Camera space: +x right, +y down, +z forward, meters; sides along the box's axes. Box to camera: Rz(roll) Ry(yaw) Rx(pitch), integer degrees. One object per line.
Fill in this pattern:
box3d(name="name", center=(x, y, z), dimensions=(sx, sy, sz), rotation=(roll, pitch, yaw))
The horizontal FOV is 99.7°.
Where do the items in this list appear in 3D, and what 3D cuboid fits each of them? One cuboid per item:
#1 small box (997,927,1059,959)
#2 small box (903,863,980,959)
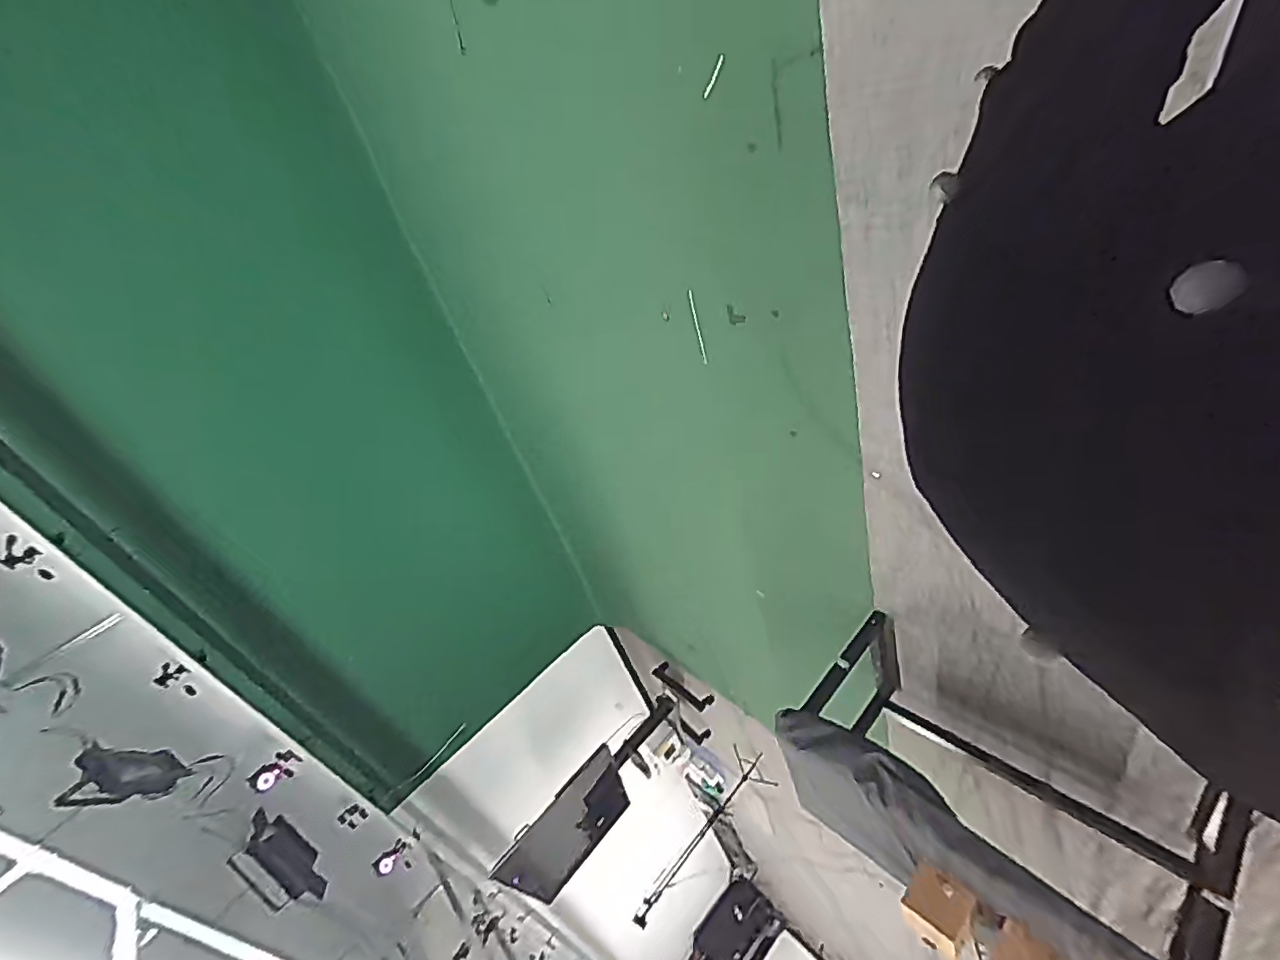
box3d(name="small box", center=(1.123, 1.440, 1.546), dimensions=(0.168, 0.176, 0.179), rotation=(18, 140, 47))
box3d(name="small box", center=(0.966, 1.387, 1.728), dimensions=(0.168, 0.176, 0.179), rotation=(15, 136, 47))
